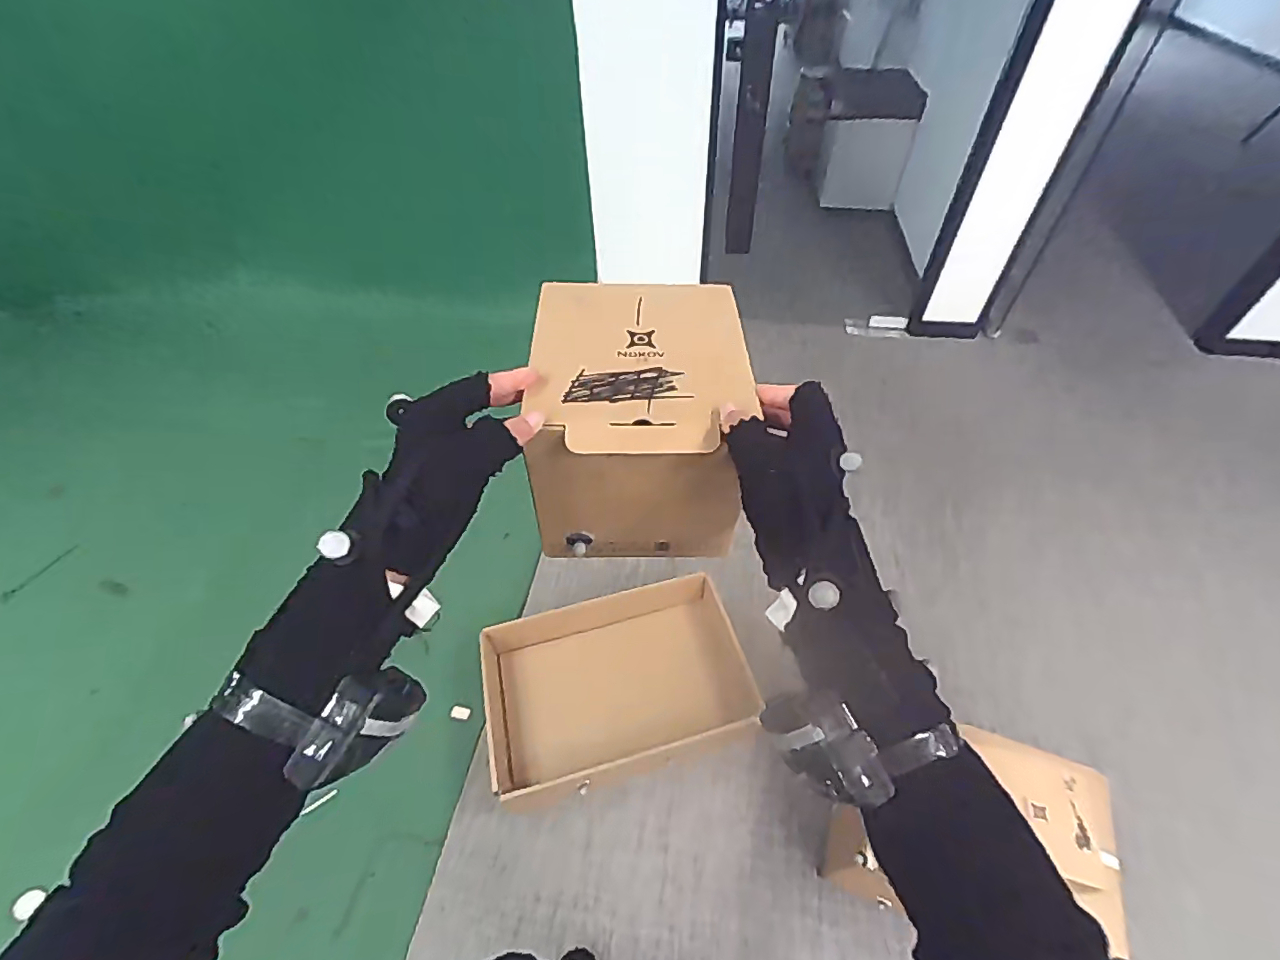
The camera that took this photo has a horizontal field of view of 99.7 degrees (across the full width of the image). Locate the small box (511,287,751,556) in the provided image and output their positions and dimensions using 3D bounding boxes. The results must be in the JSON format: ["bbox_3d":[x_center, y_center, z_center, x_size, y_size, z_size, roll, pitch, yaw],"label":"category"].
[{"bbox_3d":[-0.006,-0.047,0.474,0.168,0.176,0.179,1,49,-1],"label":"small box"}]

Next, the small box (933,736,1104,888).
[{"bbox_3d":[0.608,0.556,0.901,0.179,0.176,0.168,11,52,12],"label":"small box"}]
